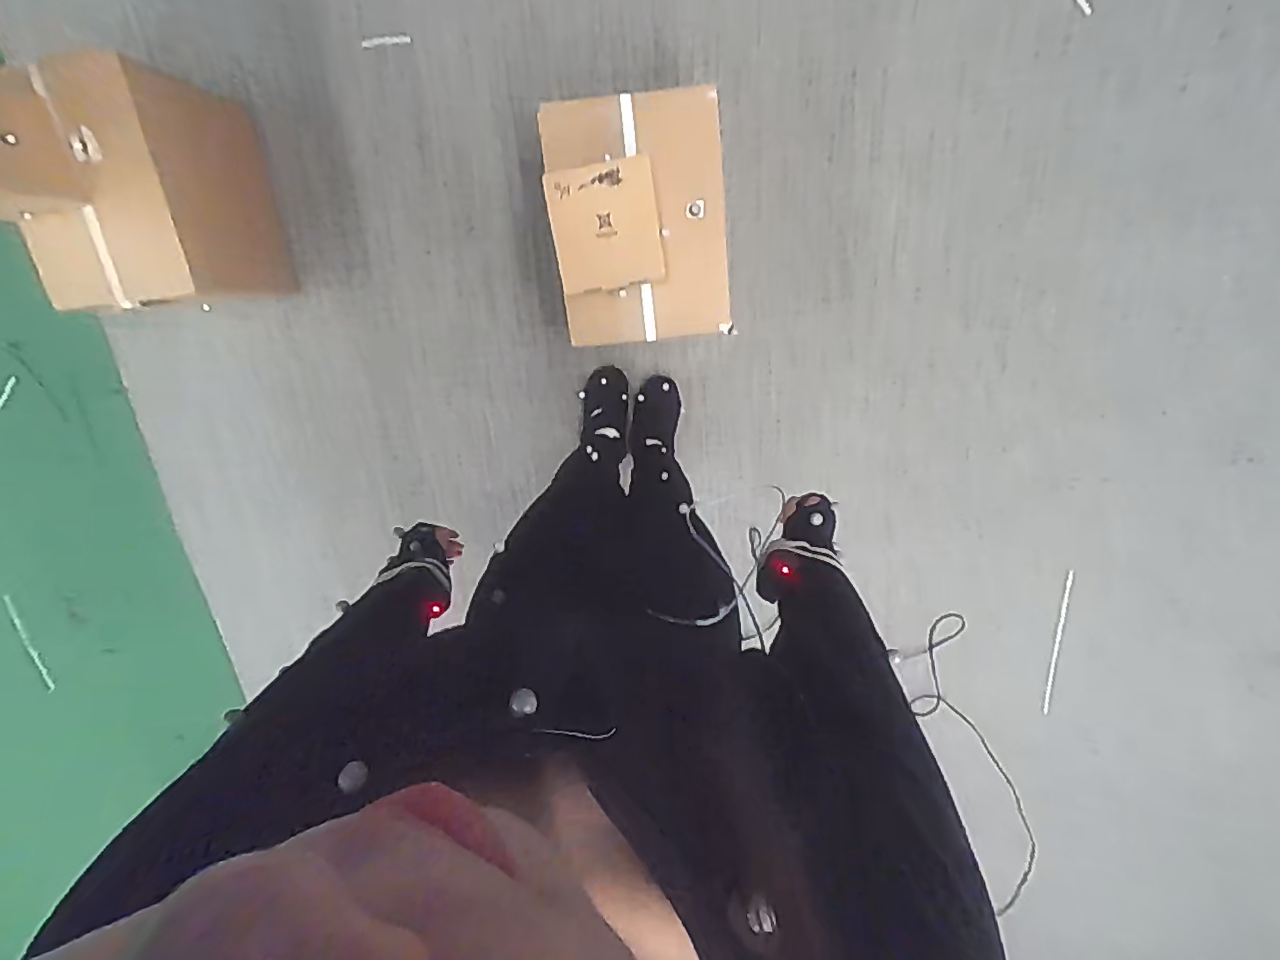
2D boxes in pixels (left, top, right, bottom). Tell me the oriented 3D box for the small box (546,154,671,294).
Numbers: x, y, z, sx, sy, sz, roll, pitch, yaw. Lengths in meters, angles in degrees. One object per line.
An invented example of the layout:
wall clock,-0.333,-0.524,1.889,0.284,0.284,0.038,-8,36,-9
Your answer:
small box,-0.041,-0.415,0.898,0.168,0.176,0.179,-7,109,8

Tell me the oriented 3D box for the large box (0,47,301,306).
large box,-1.012,-0.596,1.150,0.320,0.320,0.408,-4,108,5
